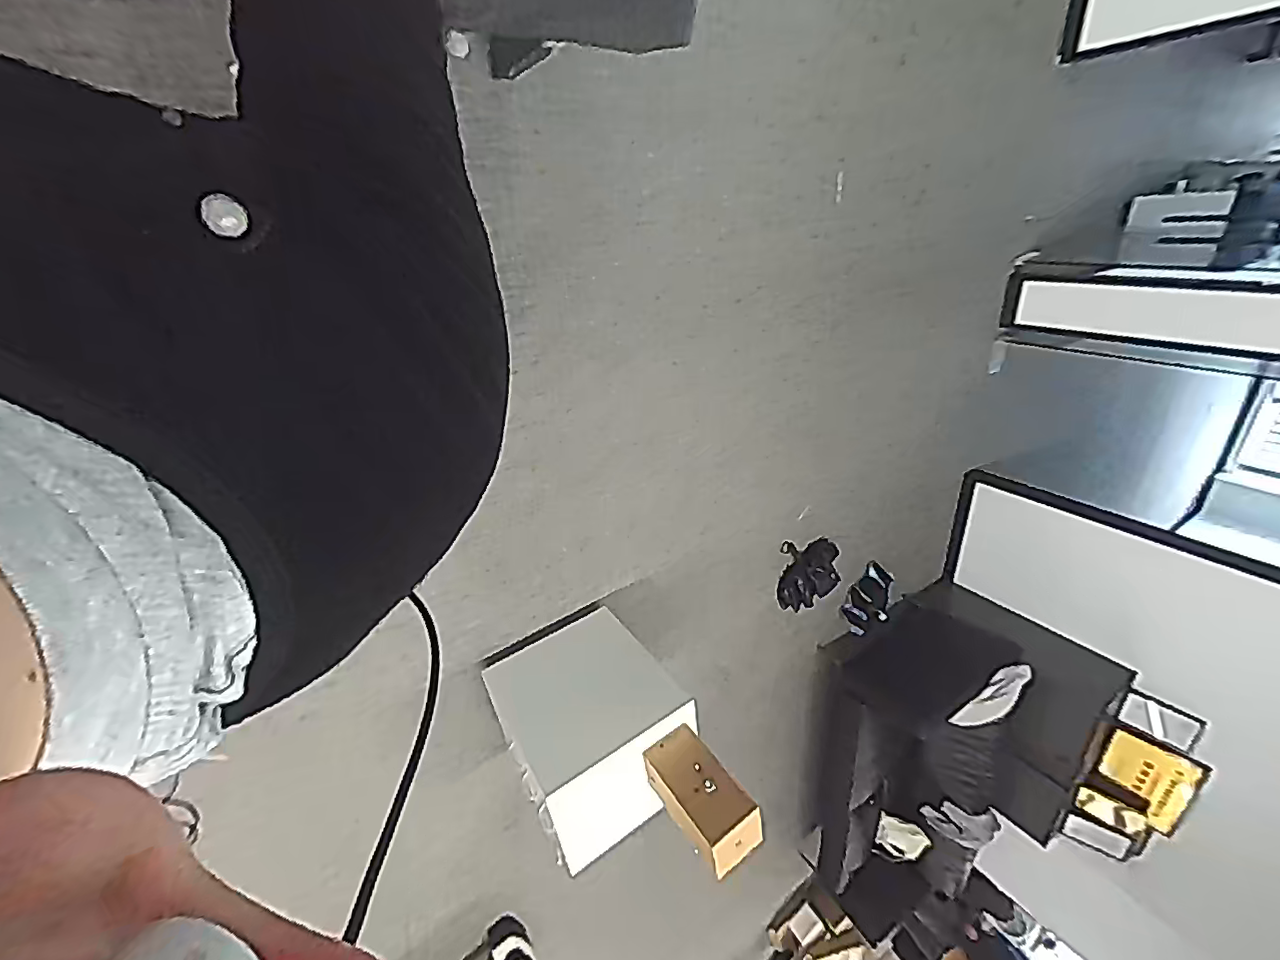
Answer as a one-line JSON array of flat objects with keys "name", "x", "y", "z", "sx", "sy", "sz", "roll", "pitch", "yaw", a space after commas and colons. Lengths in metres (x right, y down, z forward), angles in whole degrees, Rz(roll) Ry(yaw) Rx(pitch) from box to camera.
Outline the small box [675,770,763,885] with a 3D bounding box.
[{"name": "small box", "x": 0.217, "y": 0.948, "z": 1.488, "sx": 0.168, "sy": 0.176, "sz": 0.179, "roll": -28, "pitch": 123, "yaw": -23}]

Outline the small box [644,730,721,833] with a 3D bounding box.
[{"name": "small box", "x": 0.129, "y": 0.892, "z": 1.614, "sx": 0.168, "sy": 0.176, "sz": 0.179, "roll": -25, "pitch": 124, "yaw": -24}]
